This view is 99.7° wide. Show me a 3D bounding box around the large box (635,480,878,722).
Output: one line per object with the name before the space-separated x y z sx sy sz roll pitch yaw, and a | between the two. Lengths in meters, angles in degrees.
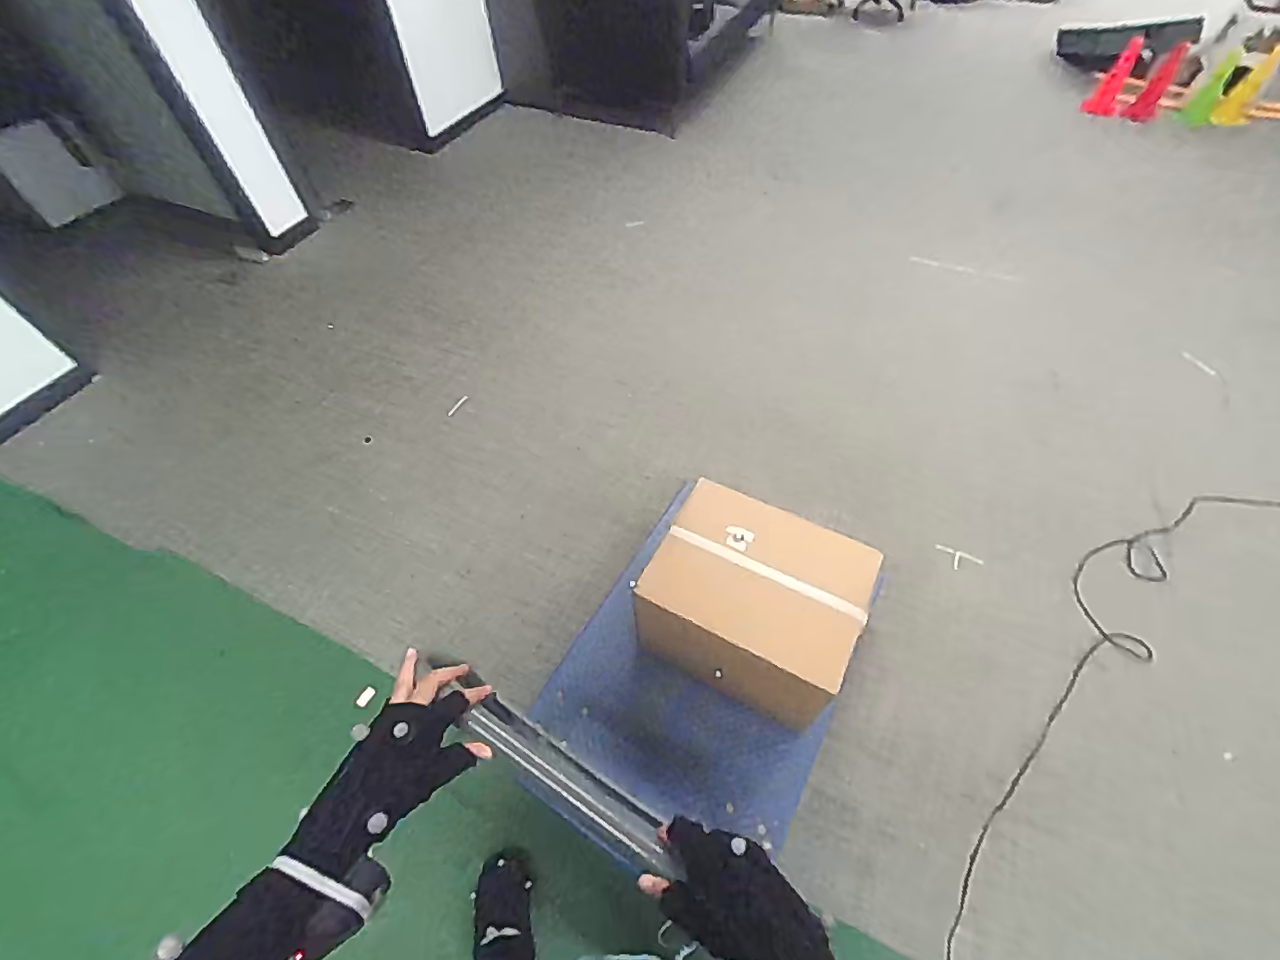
large box | 0.243 0.264 1.182 0.408 0.320 0.320 22 57 19
